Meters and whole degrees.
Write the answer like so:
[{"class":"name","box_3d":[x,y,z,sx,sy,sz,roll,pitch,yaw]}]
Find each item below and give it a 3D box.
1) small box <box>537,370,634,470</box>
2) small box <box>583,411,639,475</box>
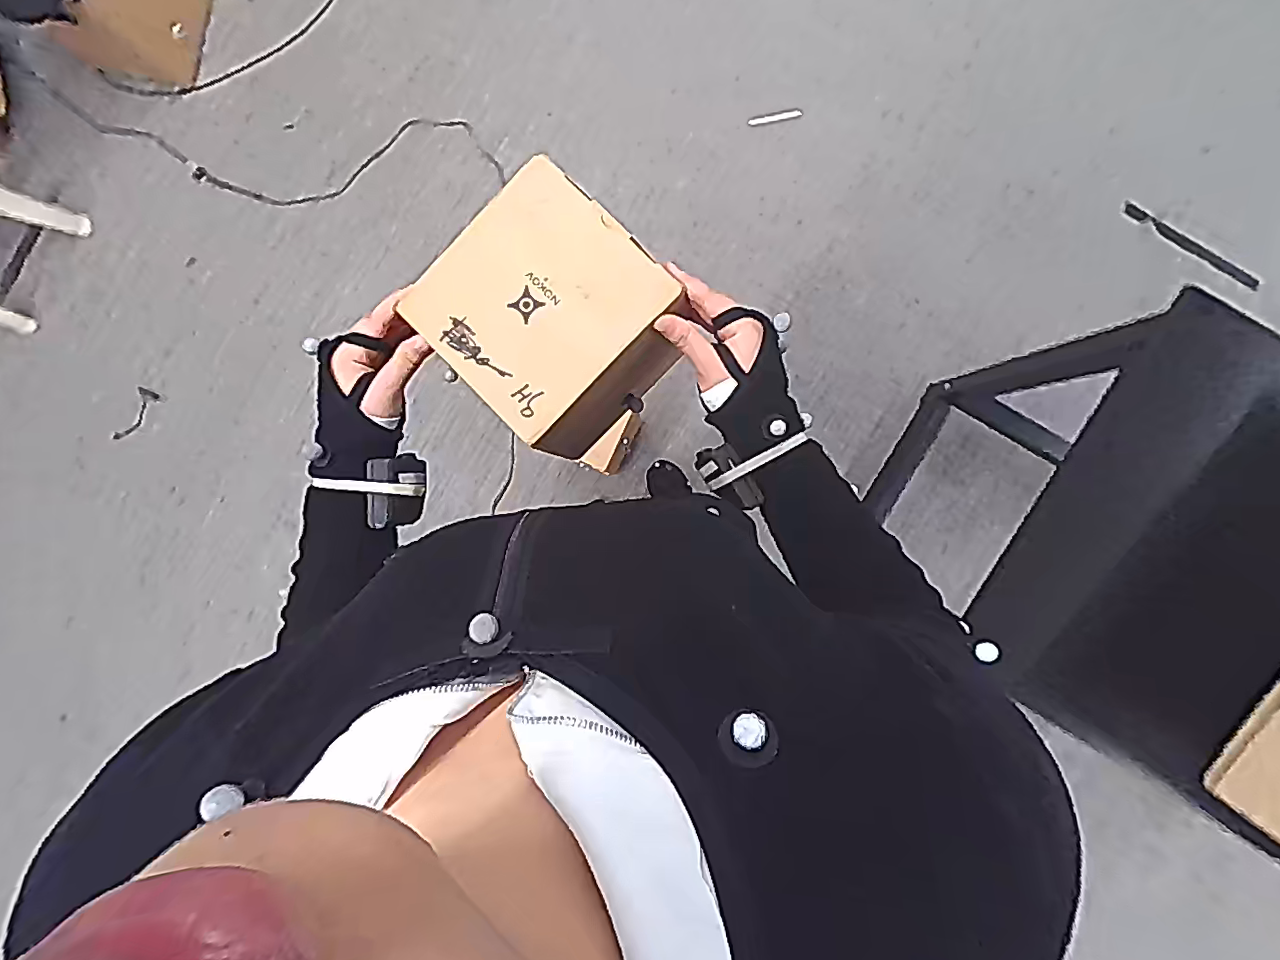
[{"class":"small box","box_3d":[-0.117,-0.131,1.265,0.168,0.176,0.179,23,90,1]},{"class":"small box","box_3d":[-0.111,-0.126,1.426,0.168,0.176,0.179,27,93,2]}]
